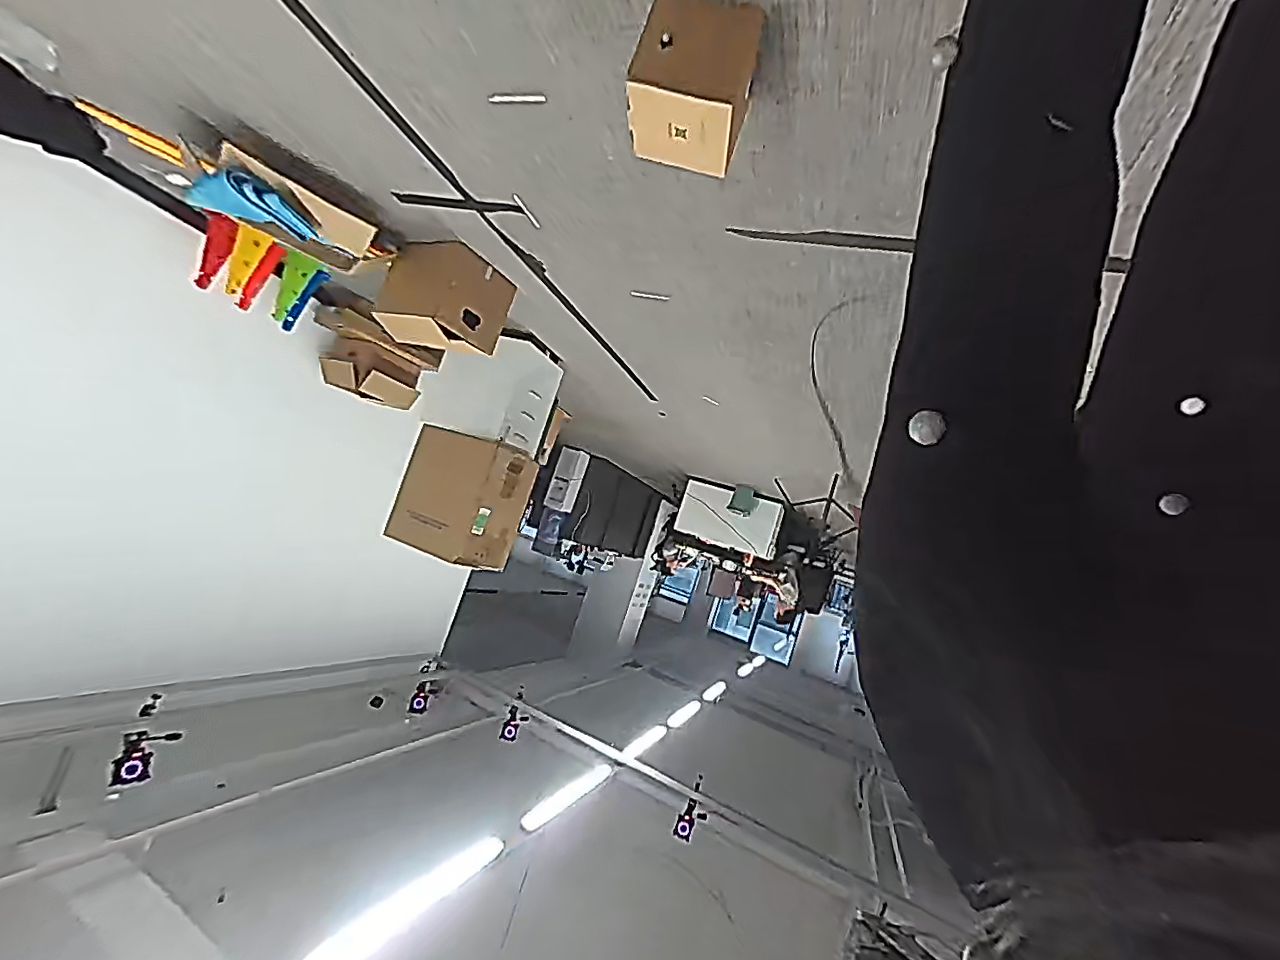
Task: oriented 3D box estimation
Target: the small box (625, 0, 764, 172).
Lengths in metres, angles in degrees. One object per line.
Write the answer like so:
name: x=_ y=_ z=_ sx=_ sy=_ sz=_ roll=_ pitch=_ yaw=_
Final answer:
small box: x=0.089 y=-0.659 z=0.898 sx=0.179 sy=0.176 sz=0.168 roll=17 pitch=175 yaw=7
